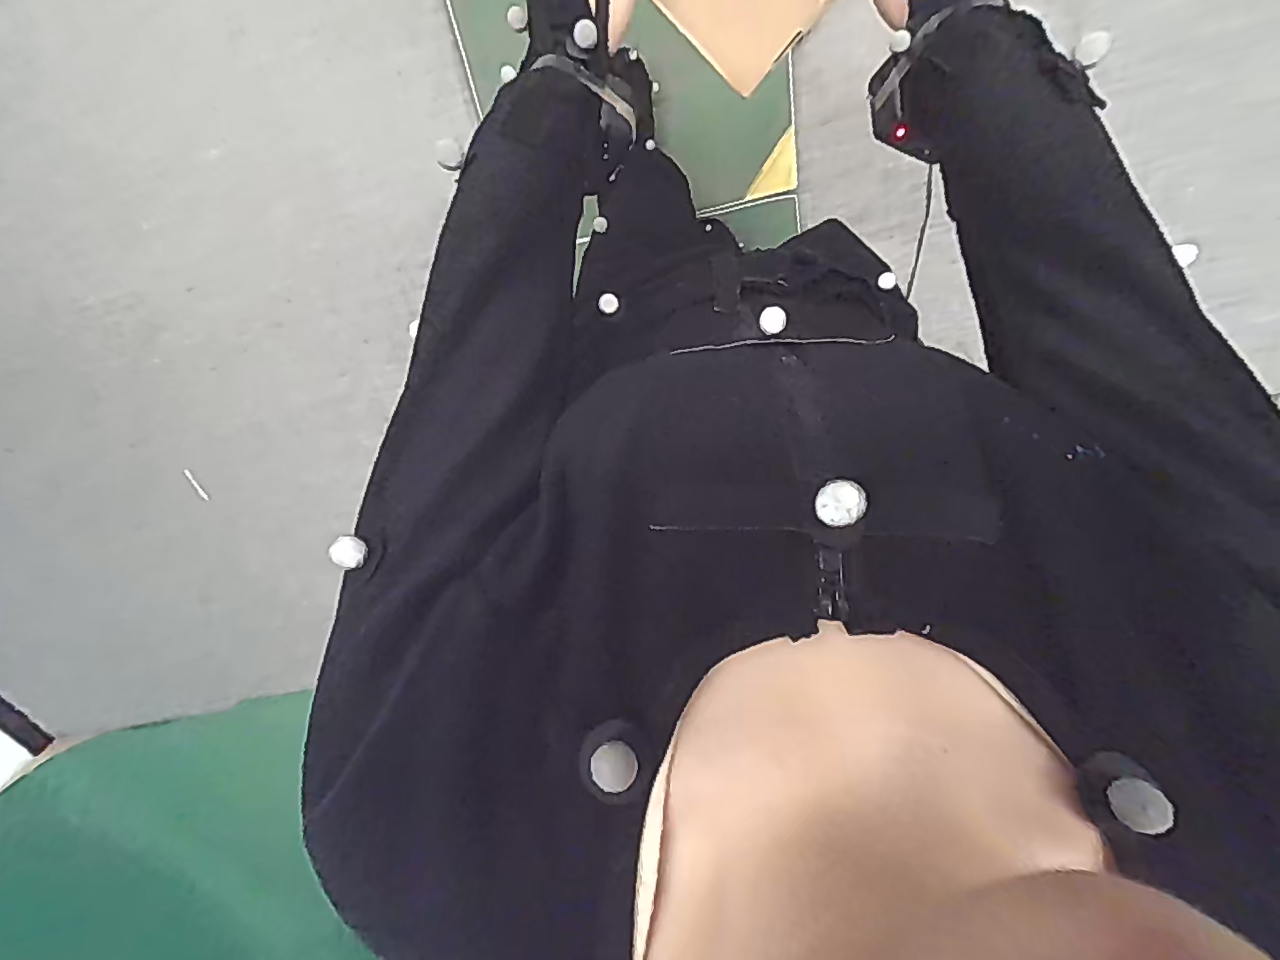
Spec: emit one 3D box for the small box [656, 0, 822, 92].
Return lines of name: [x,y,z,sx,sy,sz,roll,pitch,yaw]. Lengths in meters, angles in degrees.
small box: [0.076,-0.467,0.425,0.179,0.176,0.168,29,133,-27]
